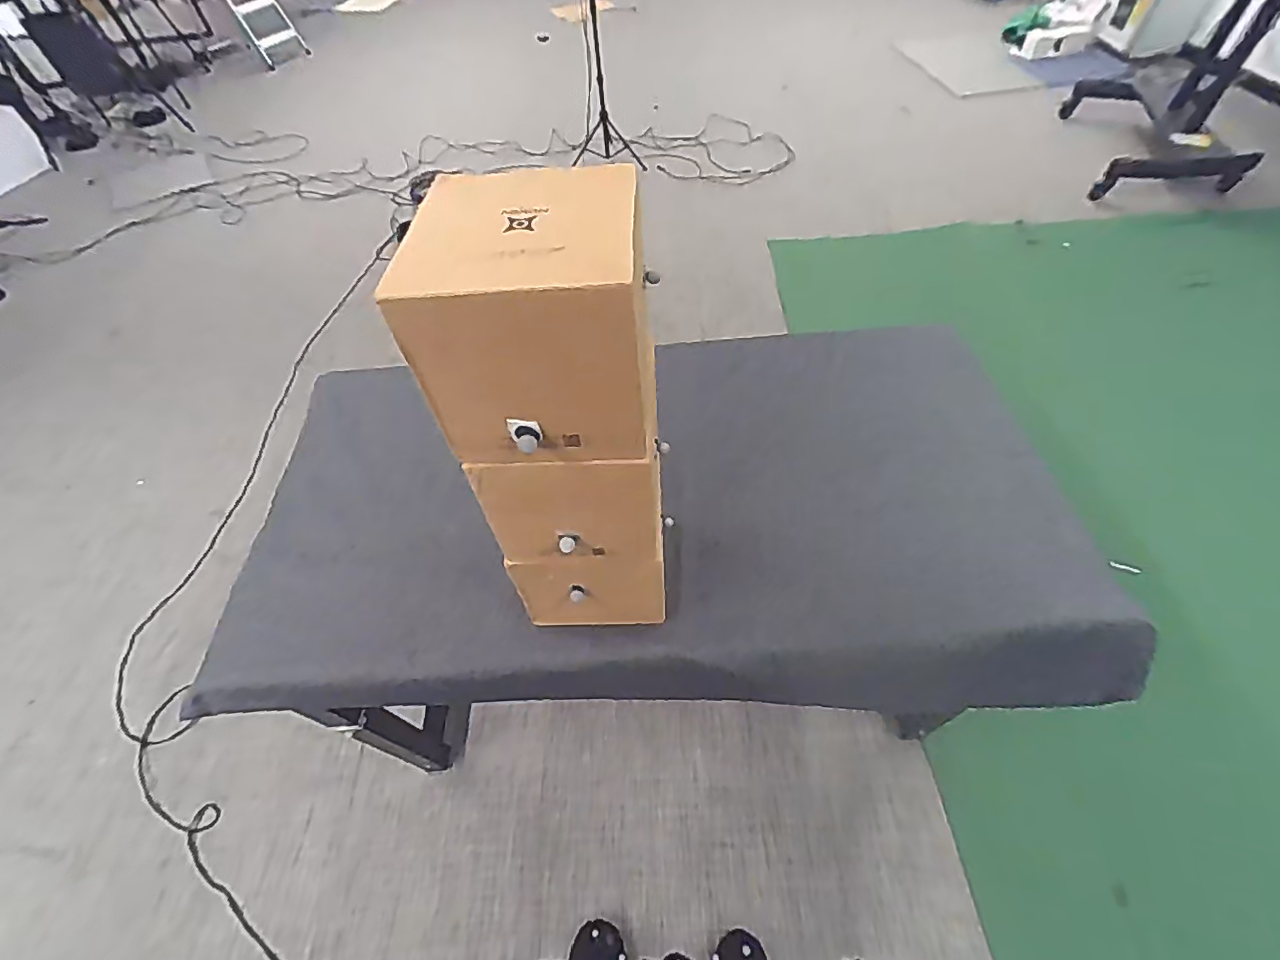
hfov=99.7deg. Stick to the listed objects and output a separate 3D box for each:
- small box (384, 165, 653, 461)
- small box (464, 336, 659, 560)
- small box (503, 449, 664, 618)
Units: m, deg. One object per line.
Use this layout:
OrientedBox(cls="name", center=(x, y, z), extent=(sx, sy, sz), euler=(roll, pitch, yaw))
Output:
OrientedBox(cls="small box", center=(-0.077, -0.135, 0.452), extent=(0.168, 0.176, 0.179), euler=(-2, 53, 3))
OrientedBox(cls="small box", center=(-0.066, -0.034, 0.577), extent=(0.168, 0.176, 0.179), euler=(0, 53, 4))
OrientedBox(cls="small box", center=(-0.060, 0.072, 0.703), extent=(0.179, 0.176, 0.168), euler=(-1, 52, 3))
